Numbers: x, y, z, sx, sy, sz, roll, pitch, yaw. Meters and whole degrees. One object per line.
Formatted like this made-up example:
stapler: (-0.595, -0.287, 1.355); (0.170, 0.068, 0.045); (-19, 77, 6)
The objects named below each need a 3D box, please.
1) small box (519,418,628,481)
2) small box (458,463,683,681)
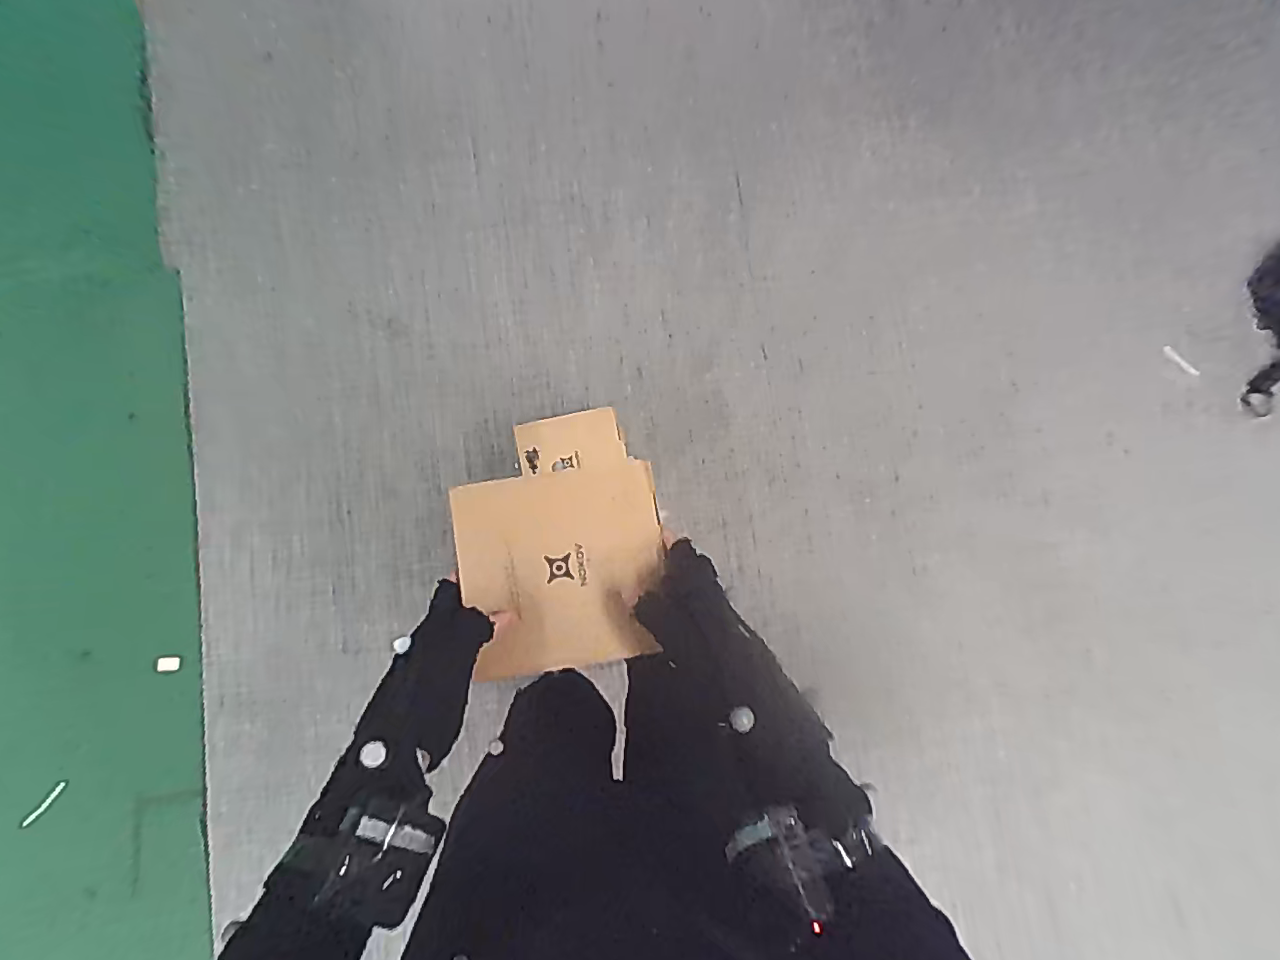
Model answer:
small box: (-0.108, -0.006, 0.990); (0.179, 0.176, 0.168); (-11, 85, -2)
small box: (-0.065, 0.087, 0.545); (0.179, 0.176, 0.168); (-10, 82, -3)
